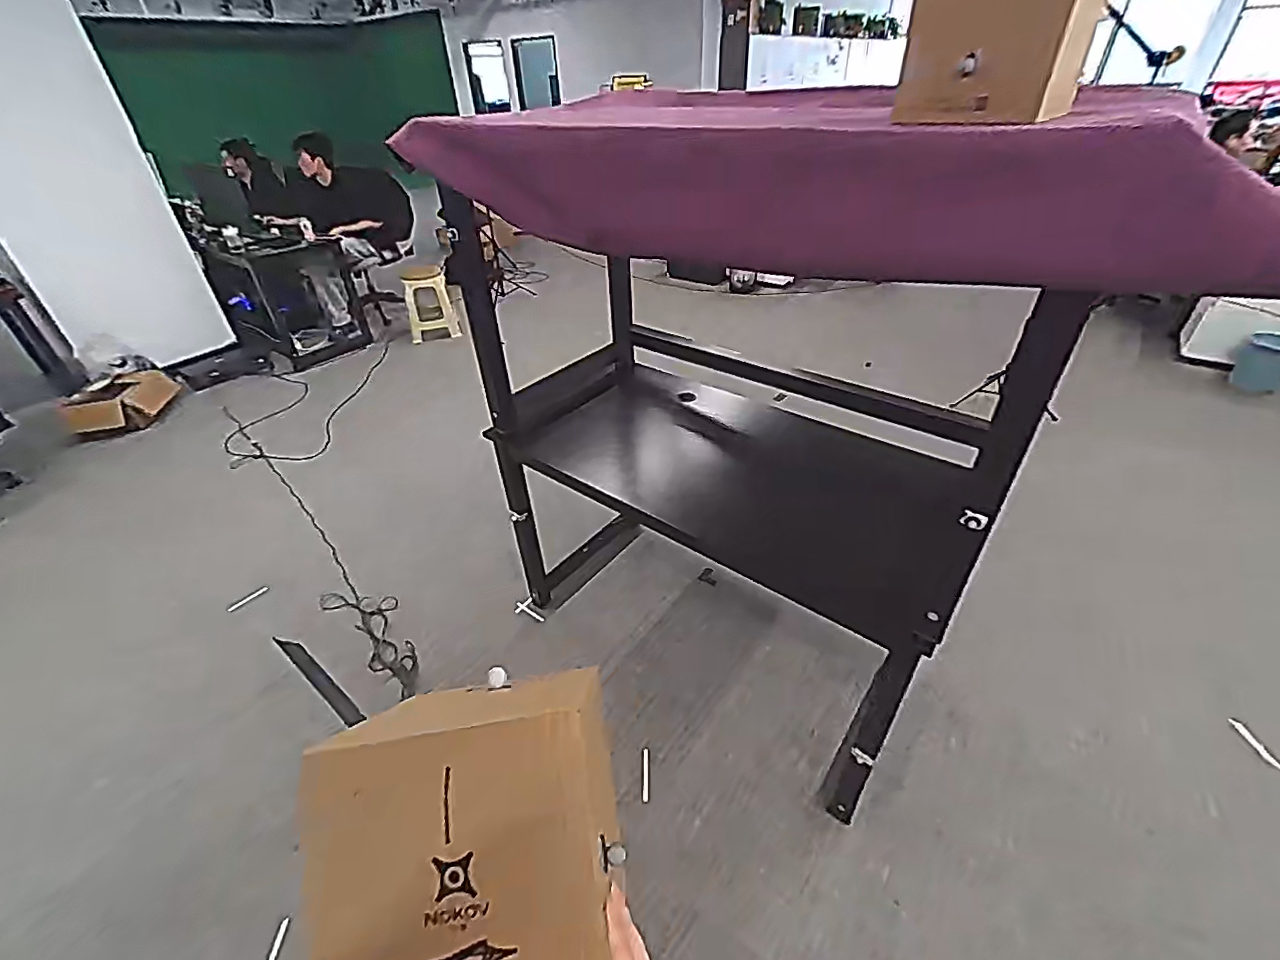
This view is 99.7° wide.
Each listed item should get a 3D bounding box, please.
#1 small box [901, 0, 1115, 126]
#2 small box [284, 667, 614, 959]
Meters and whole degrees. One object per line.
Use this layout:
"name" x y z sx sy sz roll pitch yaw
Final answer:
"small box" 0.433 -0.525 0.637 0.168 0.176 0.179 27 45 35
"small box" -0.111 0.240 0.373 0.168 0.176 0.179 -8 78 -4
